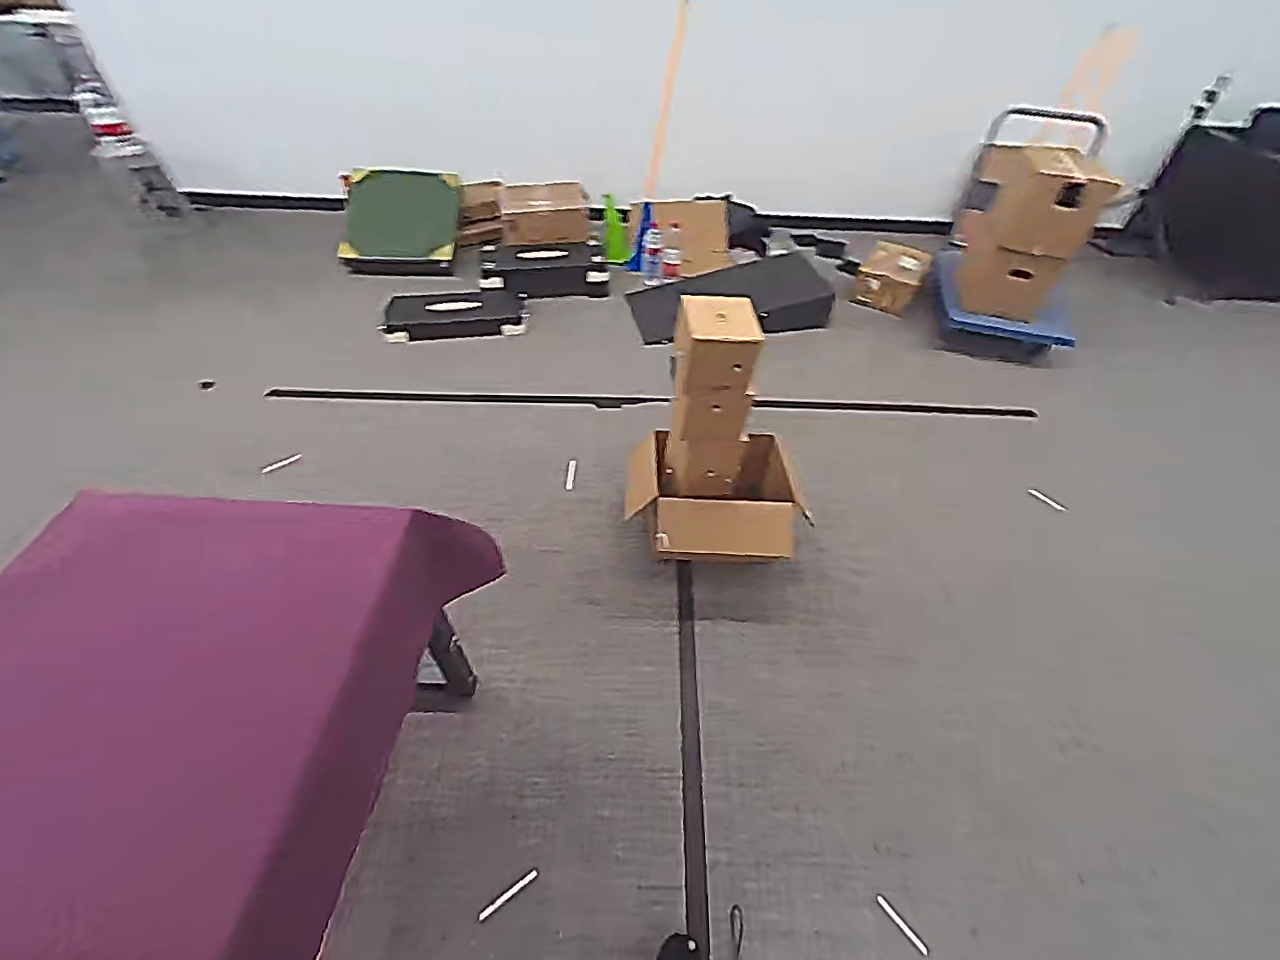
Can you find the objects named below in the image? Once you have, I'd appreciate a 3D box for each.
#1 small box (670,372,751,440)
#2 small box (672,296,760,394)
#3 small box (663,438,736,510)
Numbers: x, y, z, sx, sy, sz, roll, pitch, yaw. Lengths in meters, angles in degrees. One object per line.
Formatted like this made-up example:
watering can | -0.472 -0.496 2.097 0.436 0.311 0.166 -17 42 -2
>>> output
small box | 0.179 -0.221 1.445 0.179 0.176 0.168 -1 51 -8
small box | 0.176 -0.325 1.318 0.168 0.176 0.179 0 50 -8
small box | 0.179 -0.026 1.712 0.179 0.176 0.168 -12 52 -18
